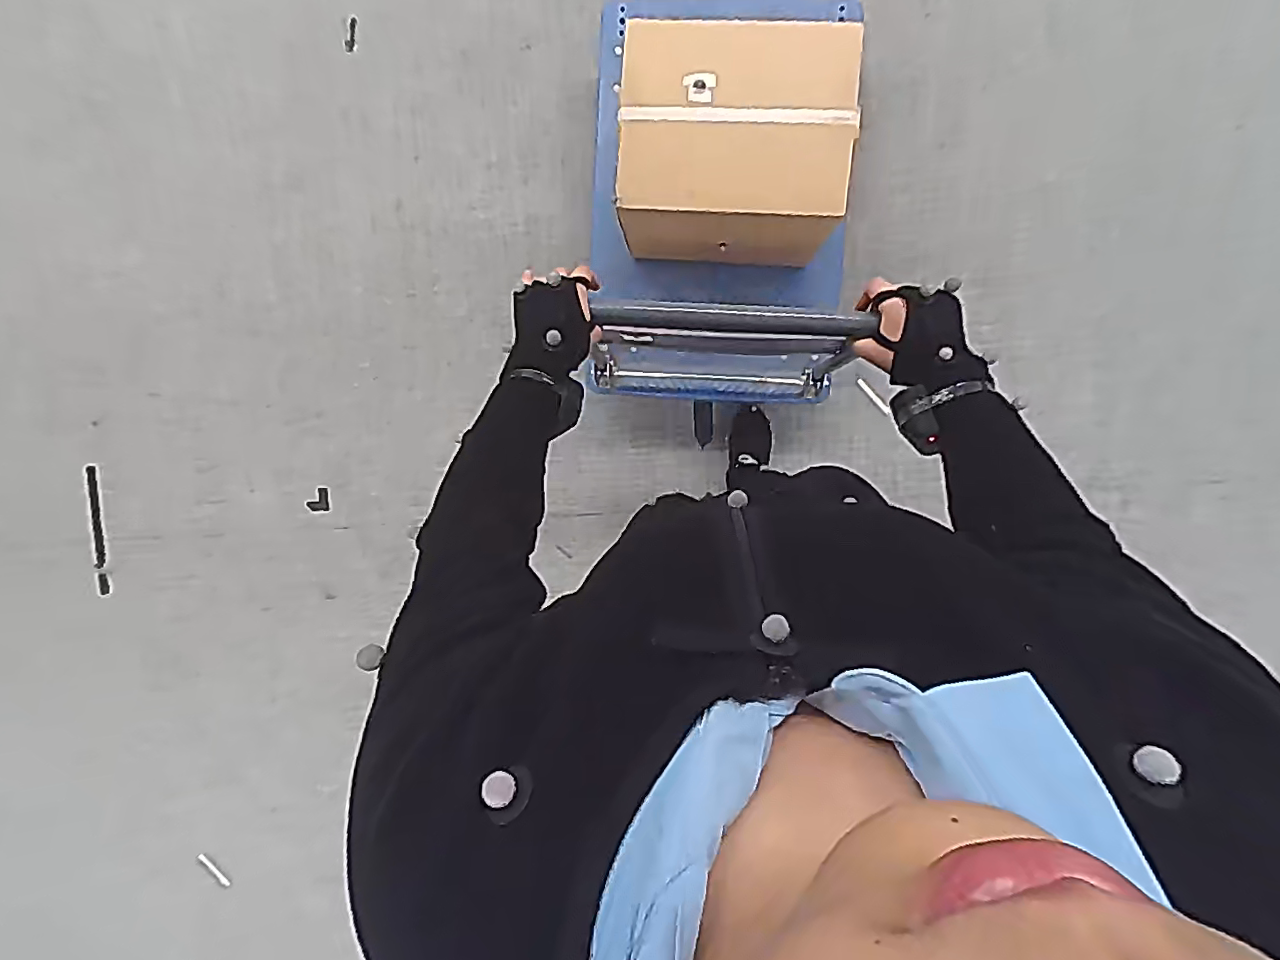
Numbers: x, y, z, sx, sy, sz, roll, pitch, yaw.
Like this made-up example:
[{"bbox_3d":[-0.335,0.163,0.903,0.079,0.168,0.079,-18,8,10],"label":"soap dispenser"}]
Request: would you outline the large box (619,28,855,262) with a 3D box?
[{"bbox_3d":[0.182,-0.647,1.104,0.408,0.320,0.320,4,95,5],"label":"large box"}]
